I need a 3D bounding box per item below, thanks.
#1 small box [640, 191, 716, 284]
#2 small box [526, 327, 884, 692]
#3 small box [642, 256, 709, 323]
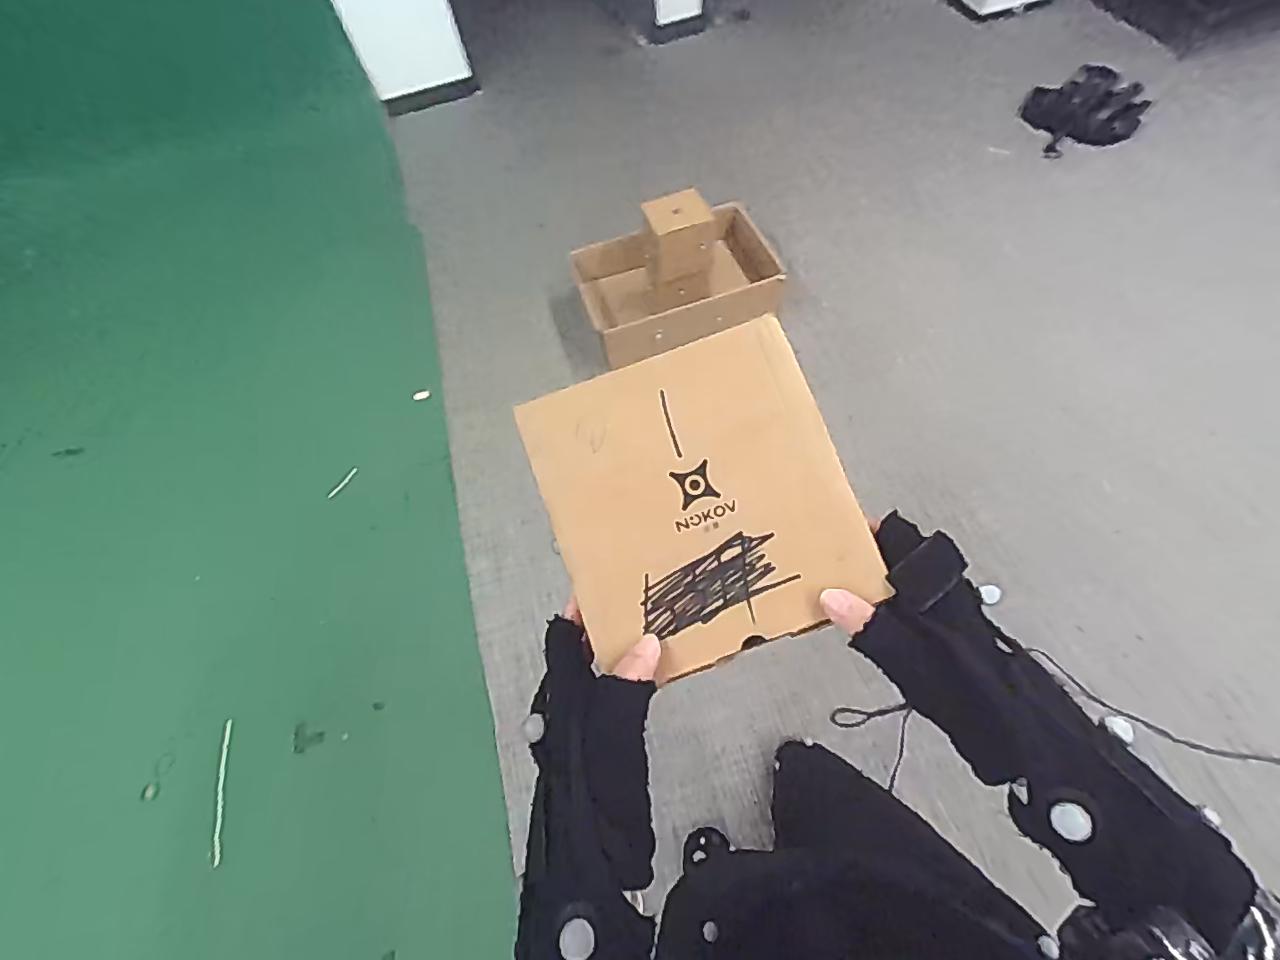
[{"bbox_3d":[0.113,-0.727,1.632,0.179,0.176,0.168,-22,60,-6],"label":"small box"},{"bbox_3d":[0.038,0.024,0.392,0.168,0.176,0.179,-19,81,-1],"label":"small box"},{"bbox_3d":[0.122,-0.652,1.798,0.179,0.176,0.168,-20,59,-5],"label":"small box"}]
